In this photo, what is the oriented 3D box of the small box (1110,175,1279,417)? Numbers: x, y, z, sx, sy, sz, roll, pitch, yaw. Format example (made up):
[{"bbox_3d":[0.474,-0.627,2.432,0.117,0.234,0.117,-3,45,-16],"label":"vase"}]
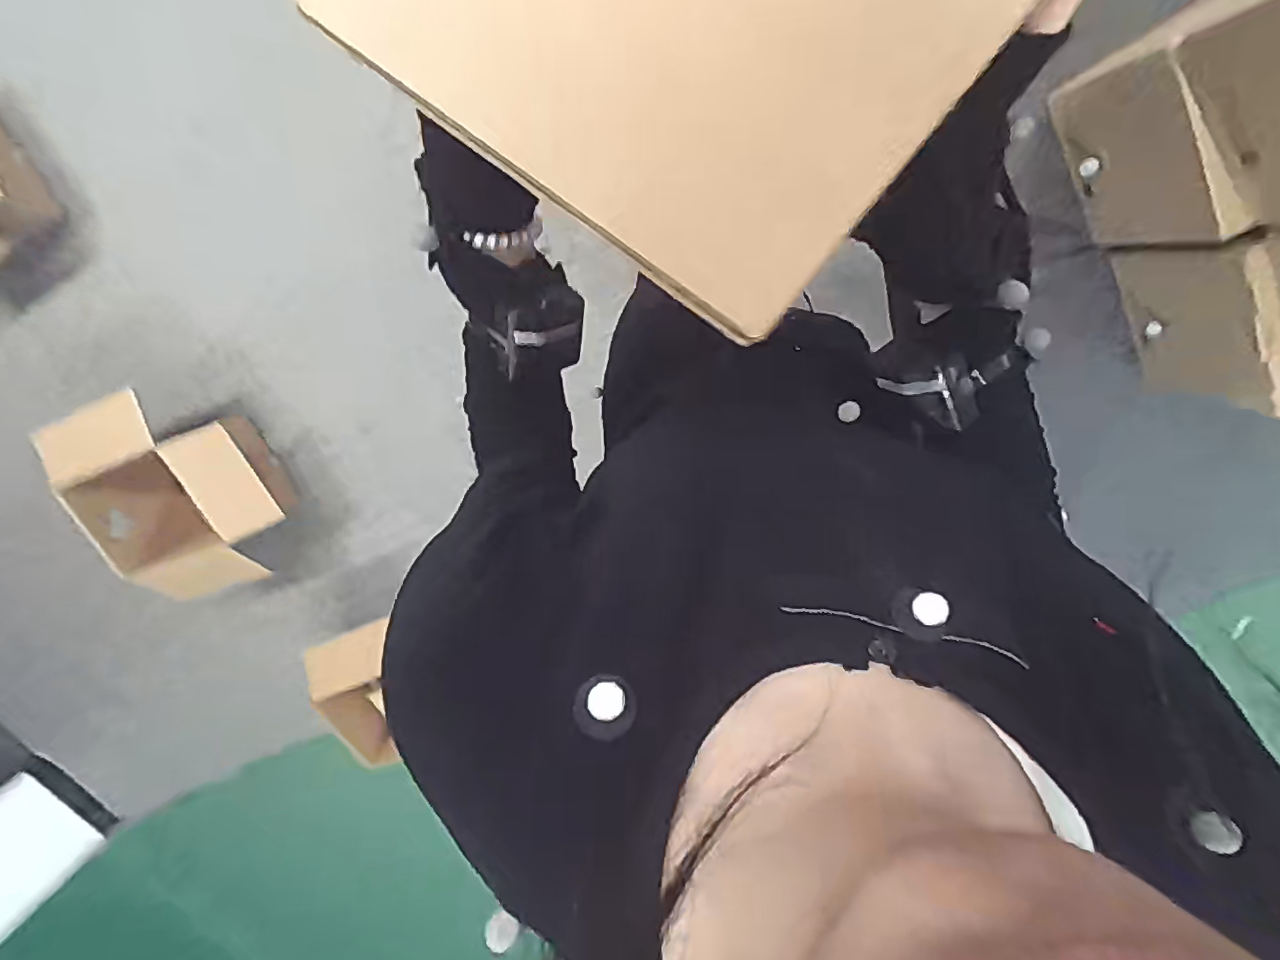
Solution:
[{"bbox_3d":[0.622,-0.188,0.523,0.179,0.176,0.168,-26,105,16],"label":"small box"}]
